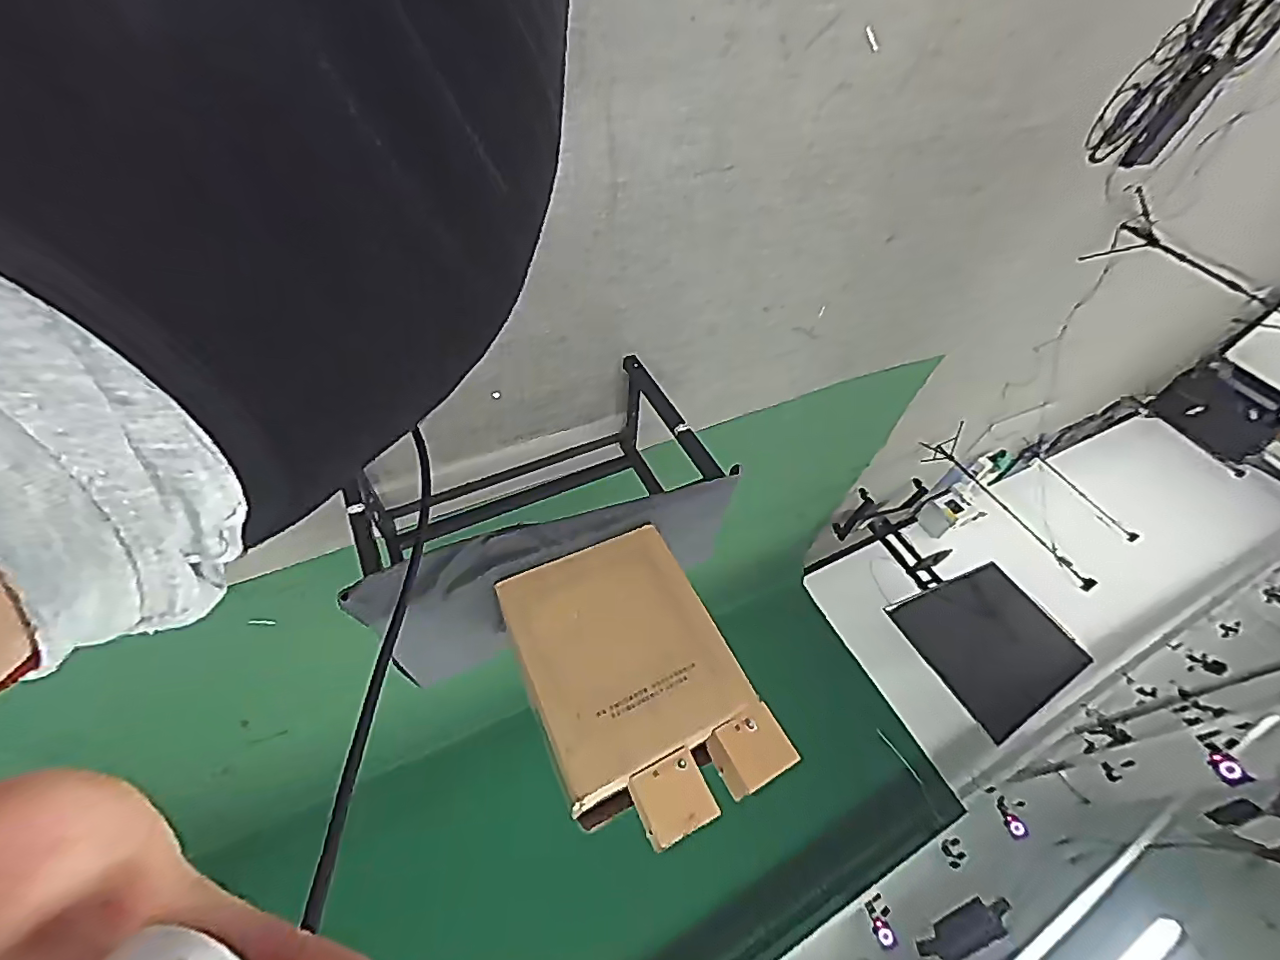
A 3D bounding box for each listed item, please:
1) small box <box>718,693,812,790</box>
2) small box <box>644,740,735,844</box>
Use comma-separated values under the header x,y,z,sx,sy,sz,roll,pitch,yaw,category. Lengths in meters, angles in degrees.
x,y,z,sx,sy,sz,roll,pitch,yaw,category
0.334,0.714,1.484,0.168,0.176,0.179,-25,147,-19,small box
0.120,0.800,1.394,0.168,0.176,0.179,-22,148,-18,small box
